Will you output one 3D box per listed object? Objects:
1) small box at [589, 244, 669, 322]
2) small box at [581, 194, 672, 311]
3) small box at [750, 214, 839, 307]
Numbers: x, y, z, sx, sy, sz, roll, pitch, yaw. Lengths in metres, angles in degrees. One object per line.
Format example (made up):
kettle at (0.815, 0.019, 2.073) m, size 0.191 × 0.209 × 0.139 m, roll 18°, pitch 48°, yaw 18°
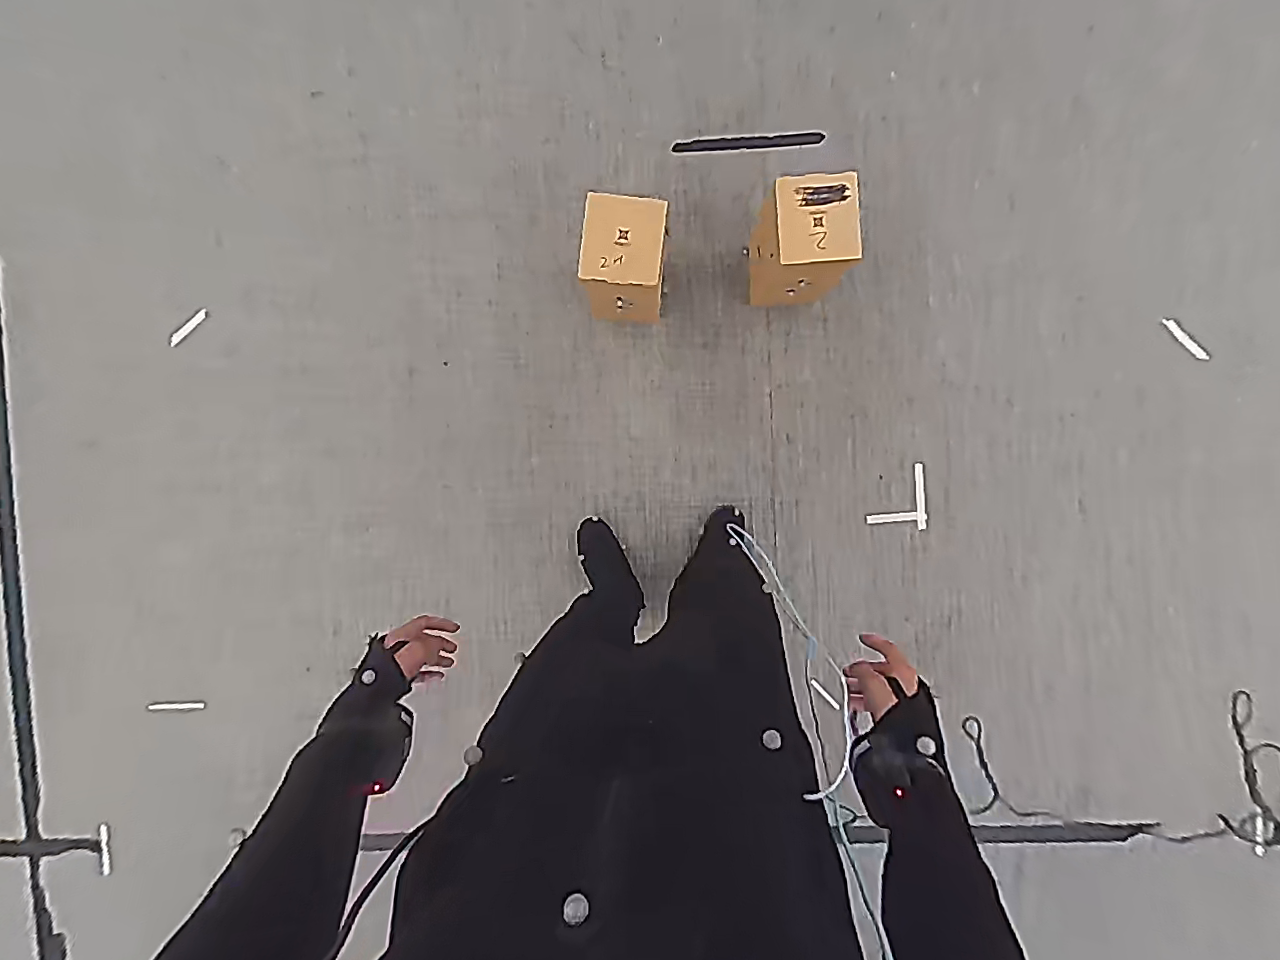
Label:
small box at (-0.025, -0.494, 1.335) m, size 0.179 × 0.176 × 0.168 m, roll 6°, pitch 93°, yaw 1°
small box at (-0.026, -0.484, 1.170) m, size 0.168 × 0.176 × 0.179 m, roll 8°, pitch 93°, yaw 2°
small box at (0.370, -0.530, 1.326) m, size 0.179 × 0.176 × 0.168 m, roll -3°, pitch 93°, yaw 0°
